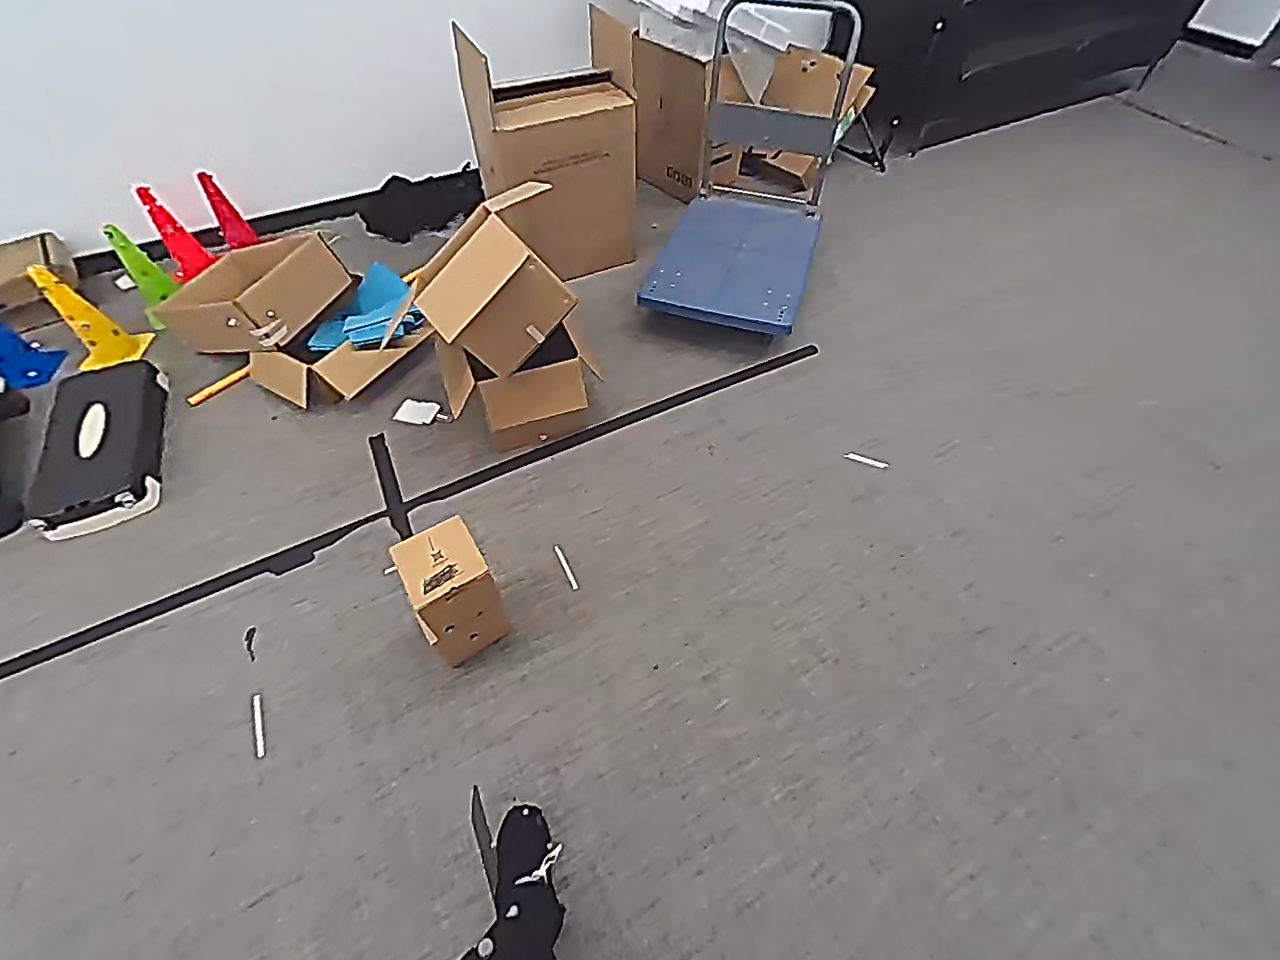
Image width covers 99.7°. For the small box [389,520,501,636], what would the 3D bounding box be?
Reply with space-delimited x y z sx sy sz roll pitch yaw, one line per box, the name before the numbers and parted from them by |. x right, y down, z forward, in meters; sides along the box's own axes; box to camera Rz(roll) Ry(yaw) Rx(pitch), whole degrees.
small box | -0.434 0.229 1.223 0.168 0.176 0.179 -27 57 -20
